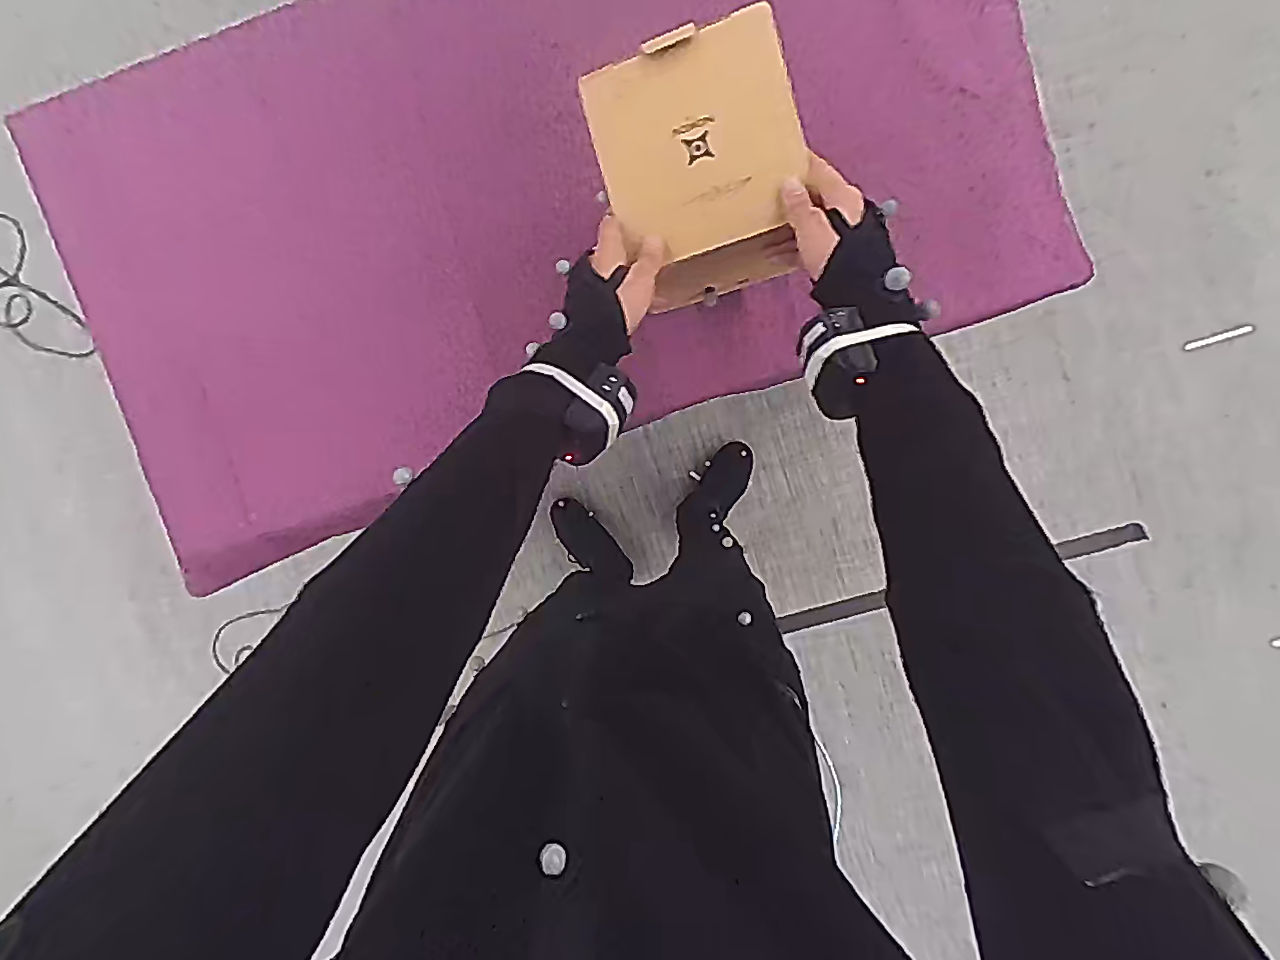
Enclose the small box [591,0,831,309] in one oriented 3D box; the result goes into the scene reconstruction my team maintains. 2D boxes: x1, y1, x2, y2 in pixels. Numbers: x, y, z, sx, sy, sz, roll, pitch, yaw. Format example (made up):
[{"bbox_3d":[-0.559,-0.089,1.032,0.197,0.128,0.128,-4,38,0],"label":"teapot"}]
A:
[{"bbox_3d":[0.067,-0.286,0.519,0.168,0.176,0.179,-14,93,10],"label":"small box"}]
